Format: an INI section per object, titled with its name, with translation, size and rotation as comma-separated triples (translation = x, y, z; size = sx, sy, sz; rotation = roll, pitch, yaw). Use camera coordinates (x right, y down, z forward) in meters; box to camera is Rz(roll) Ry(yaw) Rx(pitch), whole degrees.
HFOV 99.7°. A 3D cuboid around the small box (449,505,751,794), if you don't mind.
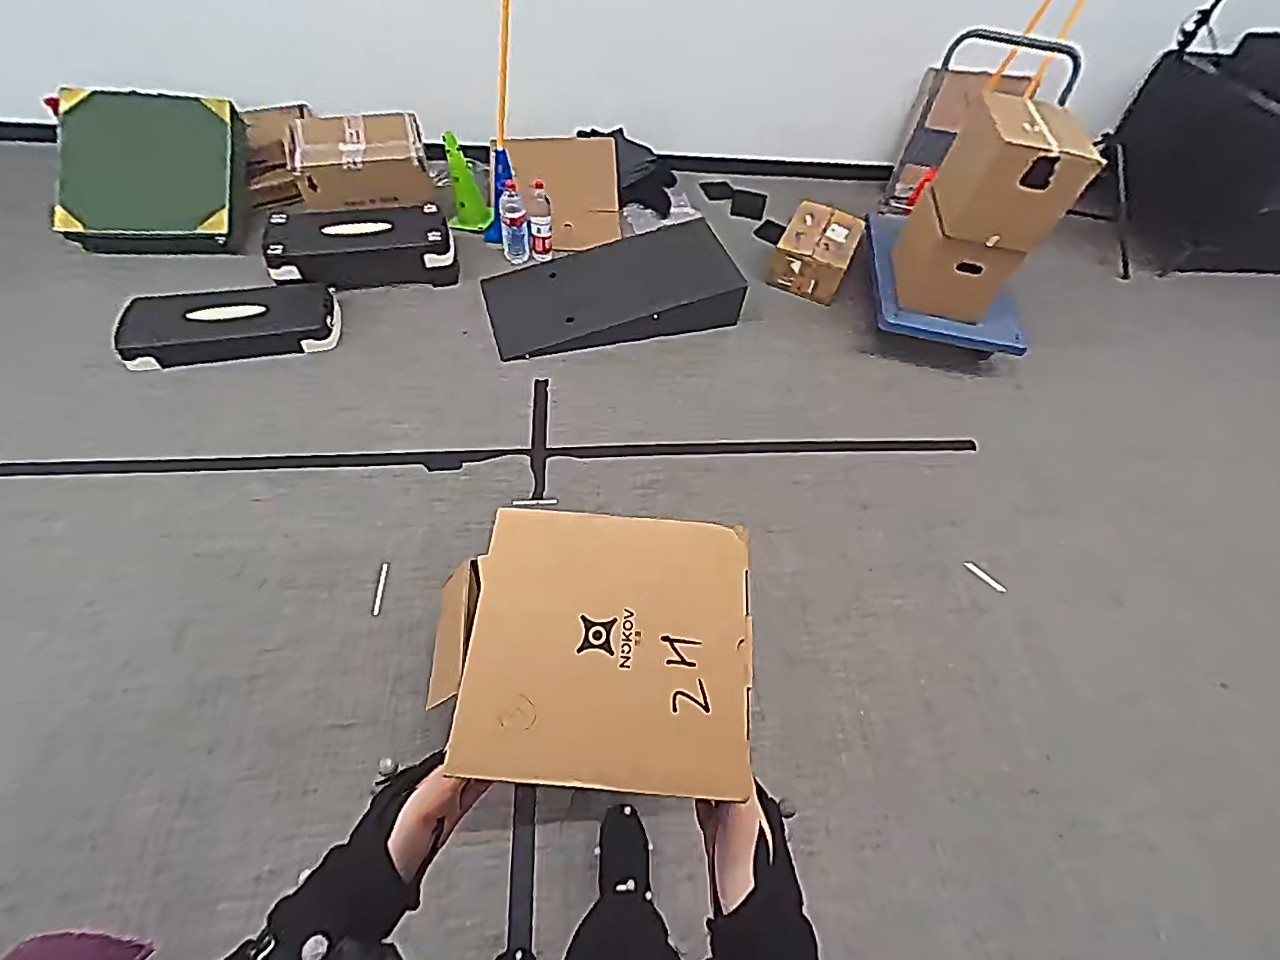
[small box]
translation = -0.018, 0.132, 0.411
size = 0.179, 0.176, 0.168
rotation = 5, 64, 1
